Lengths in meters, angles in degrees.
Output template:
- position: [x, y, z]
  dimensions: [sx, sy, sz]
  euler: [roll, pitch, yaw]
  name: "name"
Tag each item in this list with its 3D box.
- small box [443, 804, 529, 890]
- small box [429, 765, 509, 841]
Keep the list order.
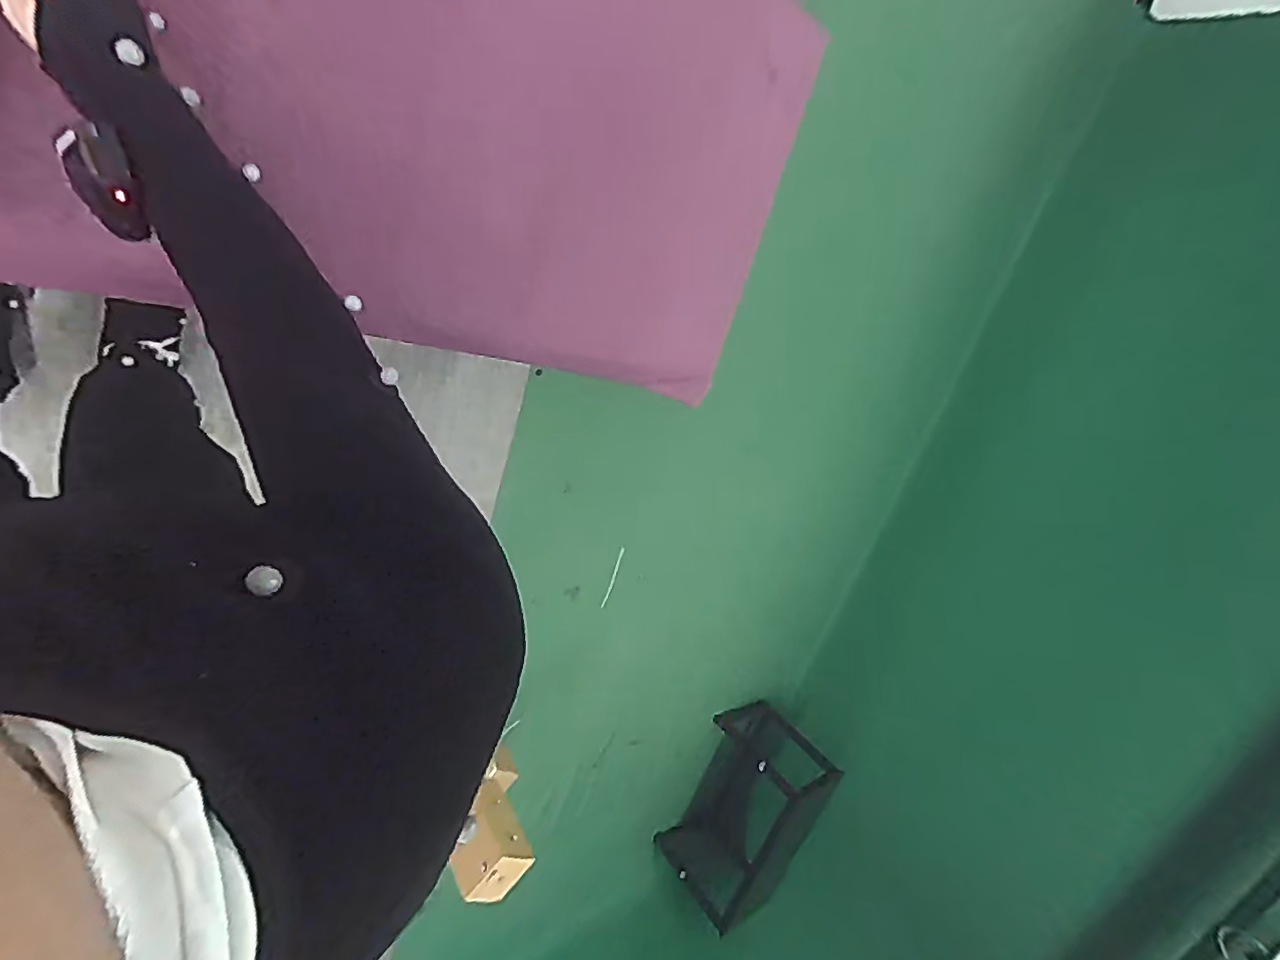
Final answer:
- position: [-0.501, 1.190, 1.760]
  dimensions: [0.168, 0.176, 0.179]
  euler: [-47, 138, -7]
  name: "small box"
- position: [-0.595, 1.123, 1.877]
  dimensions: [0.168, 0.176, 0.179]
  euler: [-47, 137, -8]
  name: "small box"
